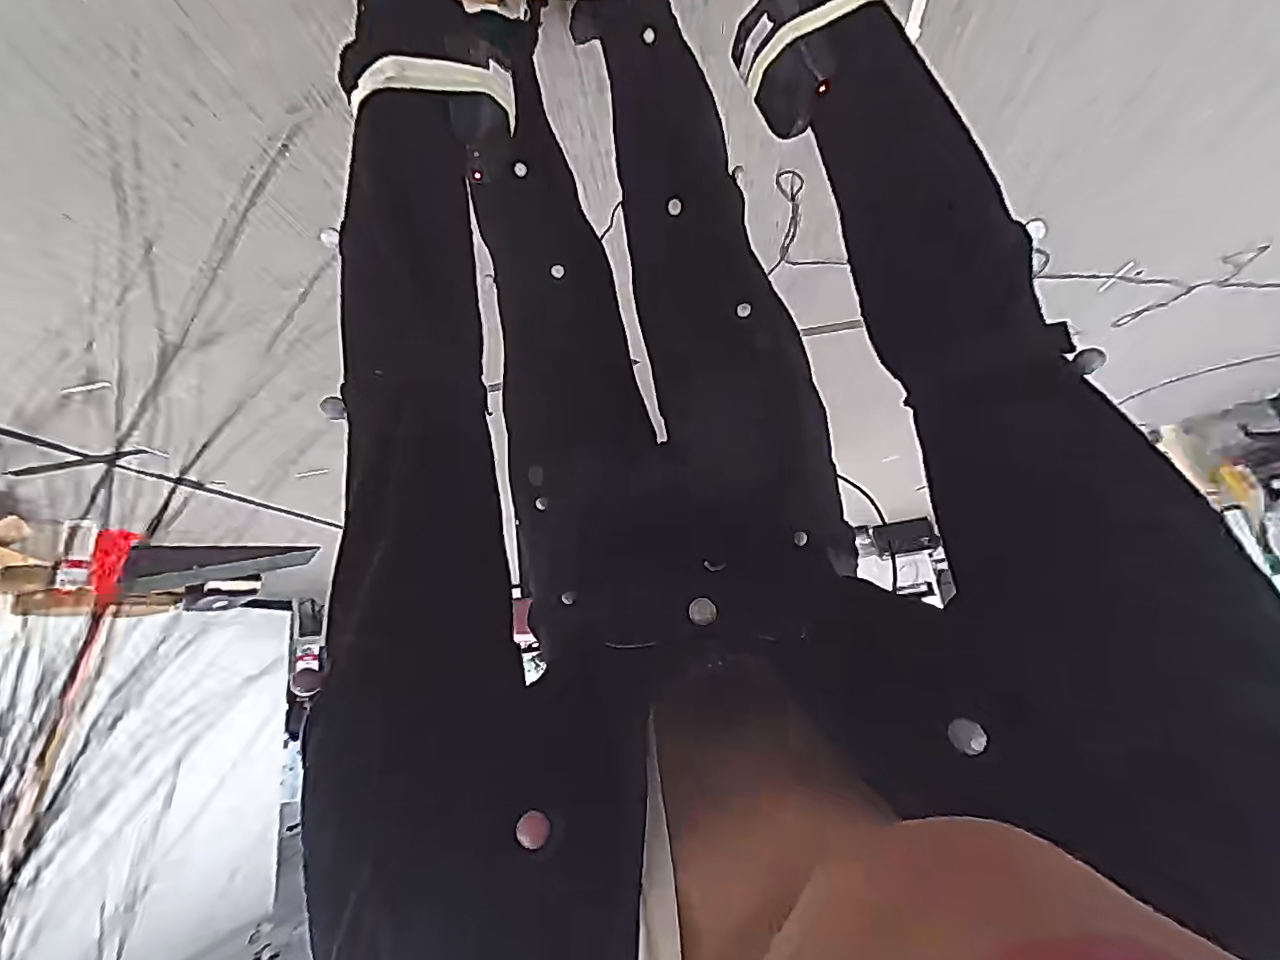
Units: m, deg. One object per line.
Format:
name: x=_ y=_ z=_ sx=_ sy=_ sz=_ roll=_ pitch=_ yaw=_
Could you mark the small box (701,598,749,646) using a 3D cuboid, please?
small box: x=0.345 y=0.582 z=2.218 sx=0.168 sy=0.176 sz=0.179 roll=-9 pitch=164 yaw=3
